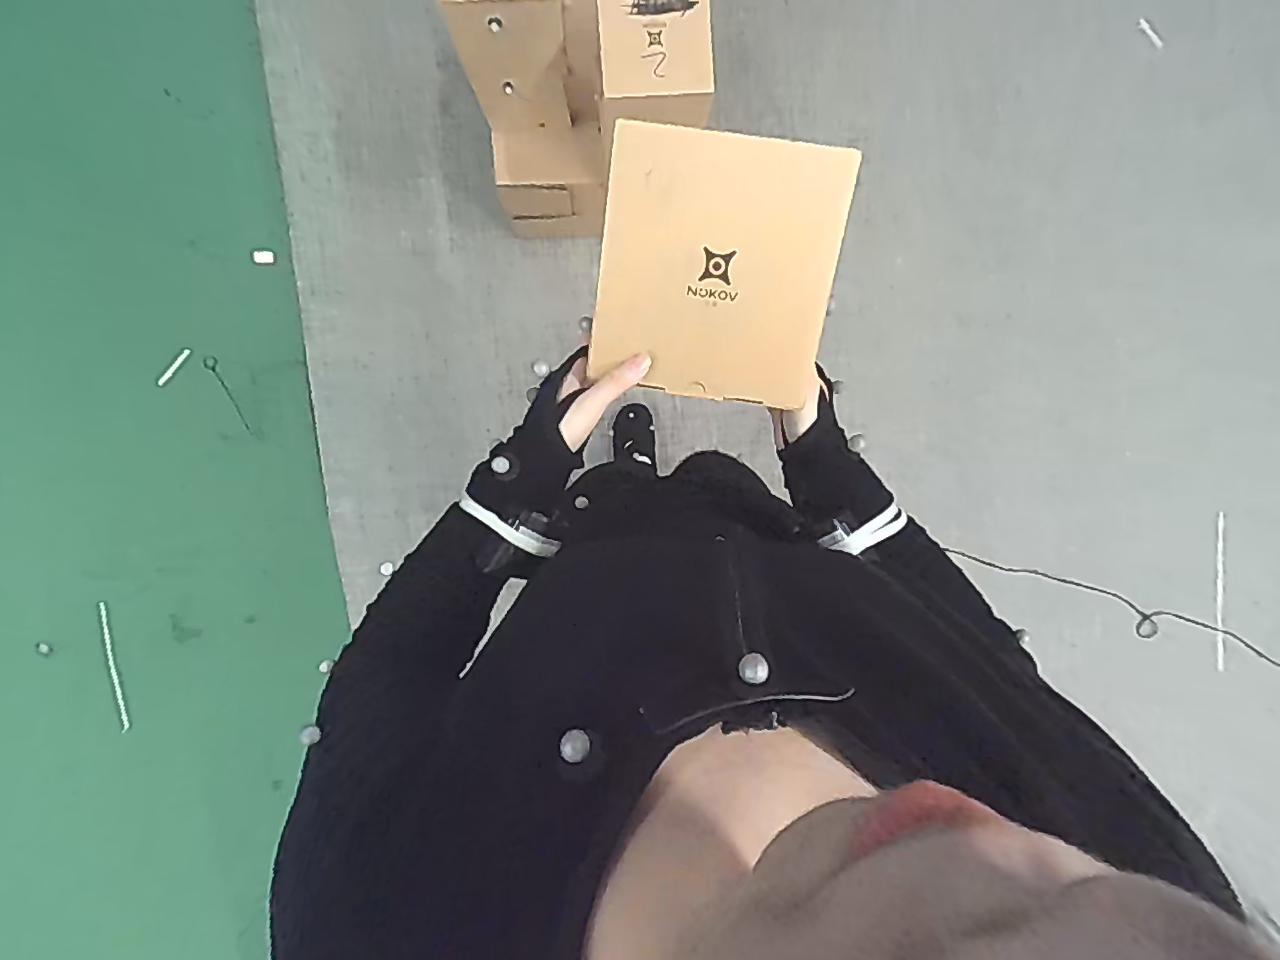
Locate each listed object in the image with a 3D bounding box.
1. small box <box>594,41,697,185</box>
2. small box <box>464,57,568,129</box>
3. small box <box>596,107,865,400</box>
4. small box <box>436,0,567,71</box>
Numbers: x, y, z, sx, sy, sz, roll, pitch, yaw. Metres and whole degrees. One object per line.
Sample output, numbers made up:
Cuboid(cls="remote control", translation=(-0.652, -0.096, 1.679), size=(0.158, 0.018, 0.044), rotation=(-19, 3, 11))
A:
Cuboid(cls="small box", translation=(0.007, -0.682, 1.023), size=(0.179, 0.176, 0.168), rotation=(-5, 95, -2))
Cuboid(cls="small box", translation=(-0.227, -0.793, 1.005), size=(0.168, 0.176, 0.179), rotation=(-4, 94, -1))
Cuboid(cls="small box", translation=(0.061, -0.176, 0.455), size=(0.168, 0.176, 0.179), rotation=(8, 108, 1))
Cuboid(cls="small box", translation=(-0.216, -0.776, 0.840), size=(0.179, 0.176, 0.168), rotation=(-5, 95, 0))
